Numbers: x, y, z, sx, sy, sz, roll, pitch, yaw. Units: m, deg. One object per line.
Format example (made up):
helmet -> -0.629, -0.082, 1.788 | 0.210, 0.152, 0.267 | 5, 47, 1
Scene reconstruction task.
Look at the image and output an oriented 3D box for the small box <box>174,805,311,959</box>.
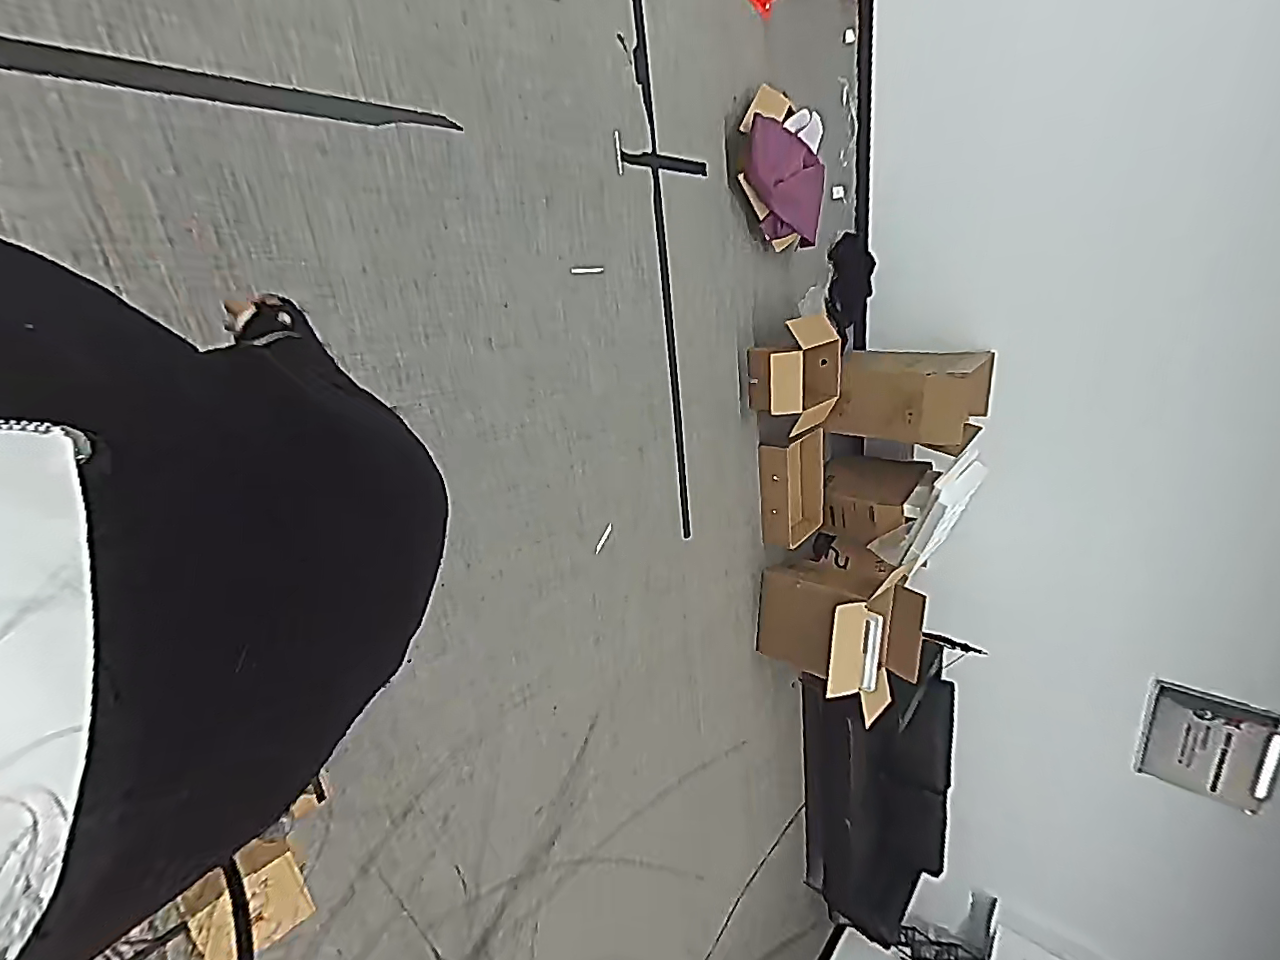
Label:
small box -> -0.790, 0.802, 1.077 | 0.168, 0.176, 0.179 | -24, 116, -42
